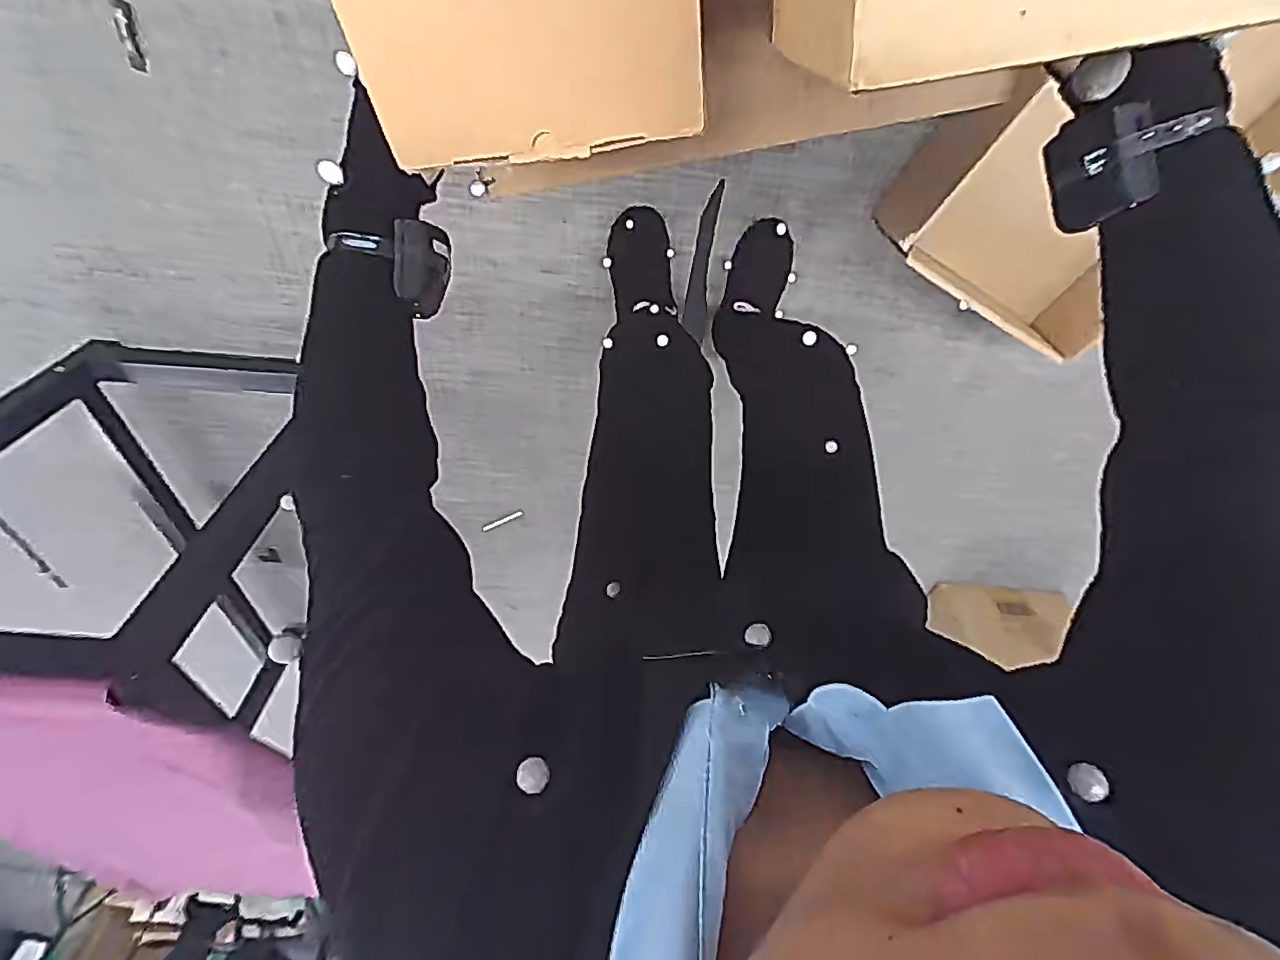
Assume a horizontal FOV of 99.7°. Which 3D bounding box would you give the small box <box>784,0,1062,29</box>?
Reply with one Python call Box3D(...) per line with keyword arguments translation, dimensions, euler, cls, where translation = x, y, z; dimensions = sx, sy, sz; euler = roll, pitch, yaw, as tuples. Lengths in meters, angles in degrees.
Box3D(translation=(0.126, -0.217, 0.119), dimensions=(0.179, 0.176, 0.168), euler=(-4, 131, 9), cls="small box")
